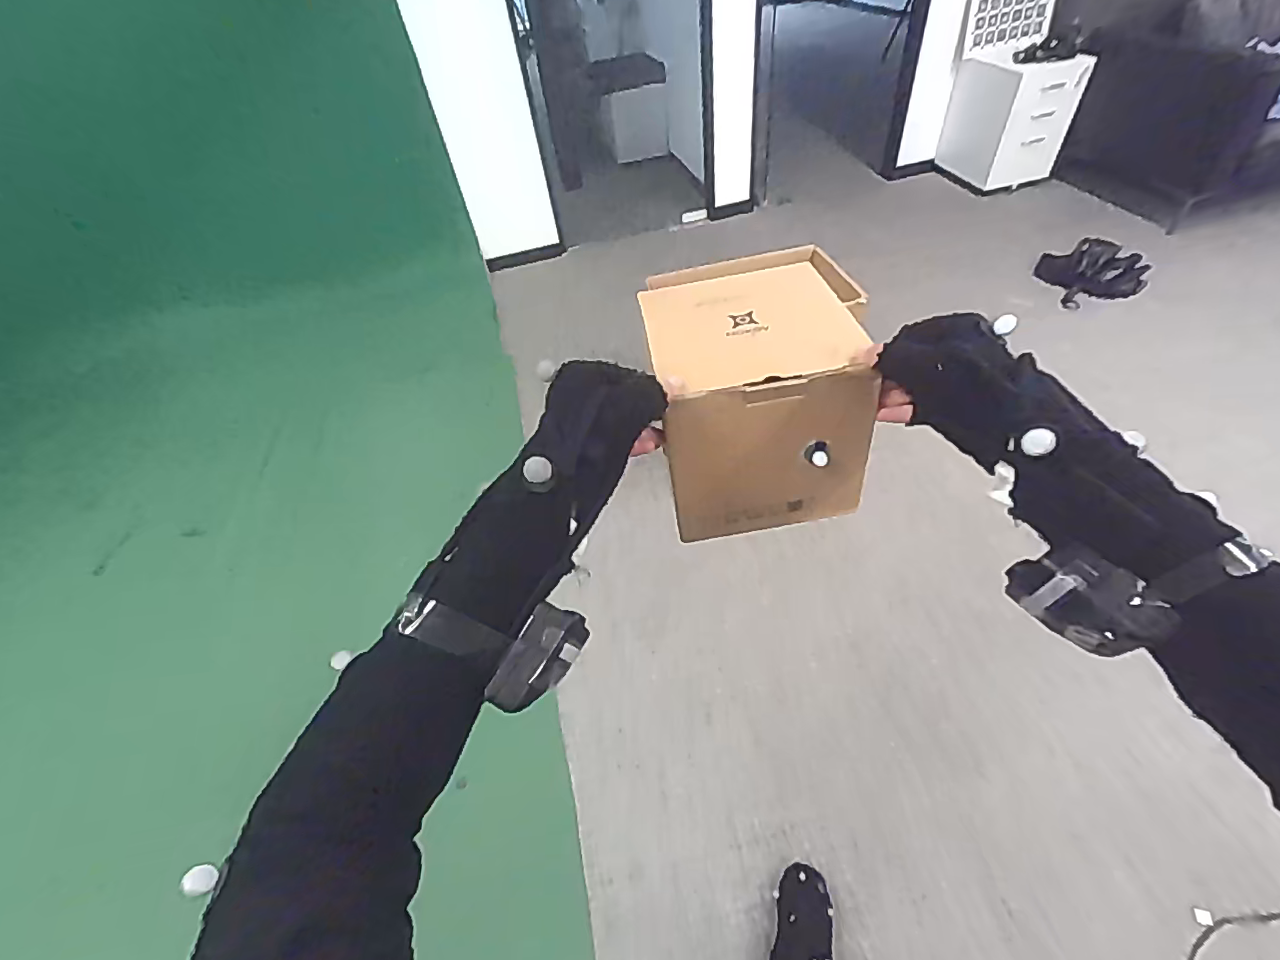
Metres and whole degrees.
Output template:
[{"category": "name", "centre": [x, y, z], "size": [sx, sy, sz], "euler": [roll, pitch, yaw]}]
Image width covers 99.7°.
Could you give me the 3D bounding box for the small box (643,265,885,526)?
[{"category": "small box", "centre": [0.101, -0.073, 0.504], "size": [0.168, 0.176, 0.179], "euler": [-10, 42, 1]}]
